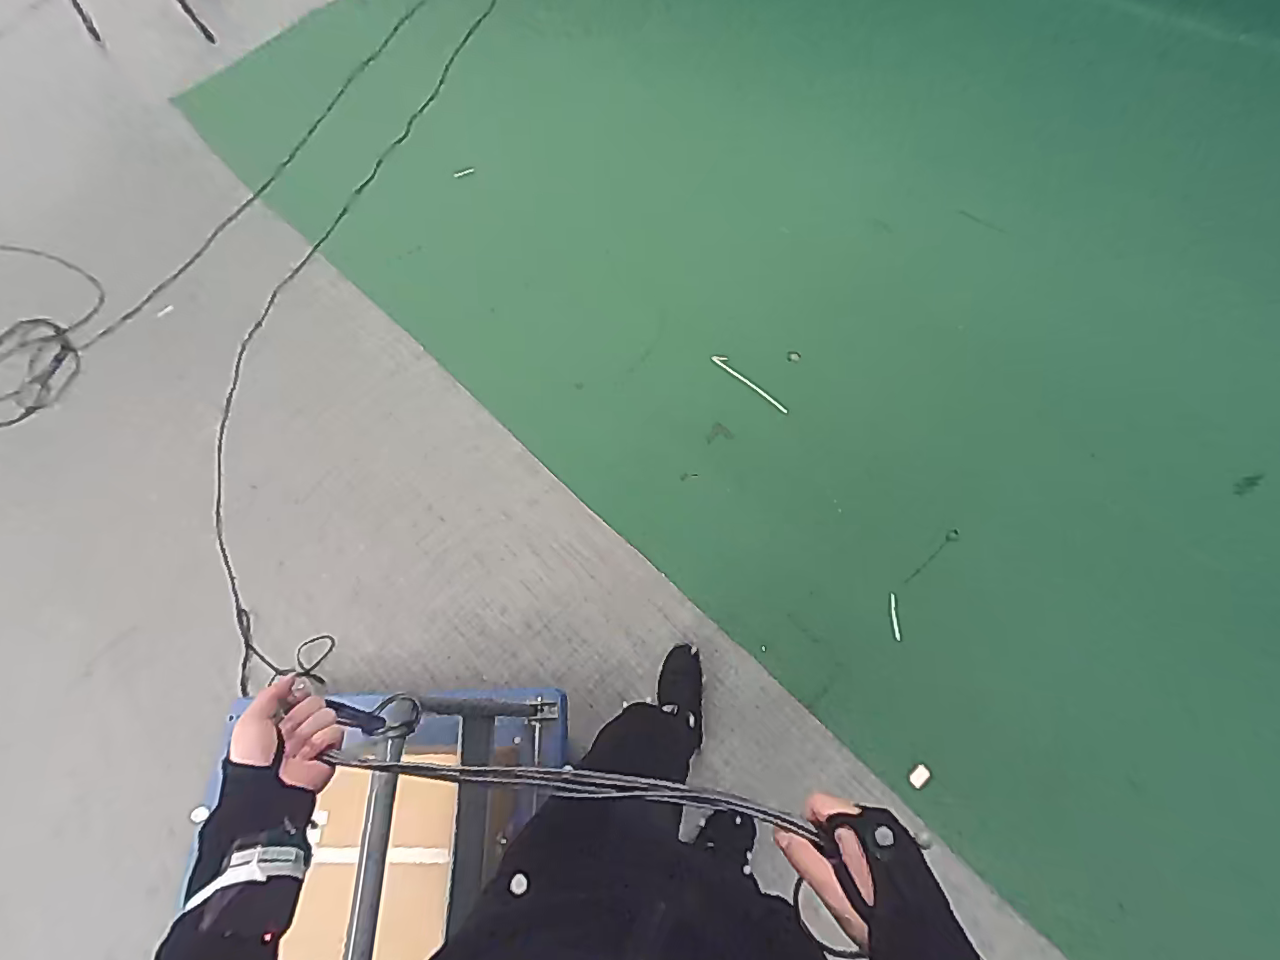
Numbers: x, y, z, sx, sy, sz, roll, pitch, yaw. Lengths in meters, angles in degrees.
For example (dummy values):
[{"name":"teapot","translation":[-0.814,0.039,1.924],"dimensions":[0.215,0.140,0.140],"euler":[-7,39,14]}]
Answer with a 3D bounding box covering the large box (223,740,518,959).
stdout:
[{"name":"large box","translation":[-0.486,0.704,1.074],"dimensions":[0.408,0.320,0.320],"euler":[-5,66,6]}]
